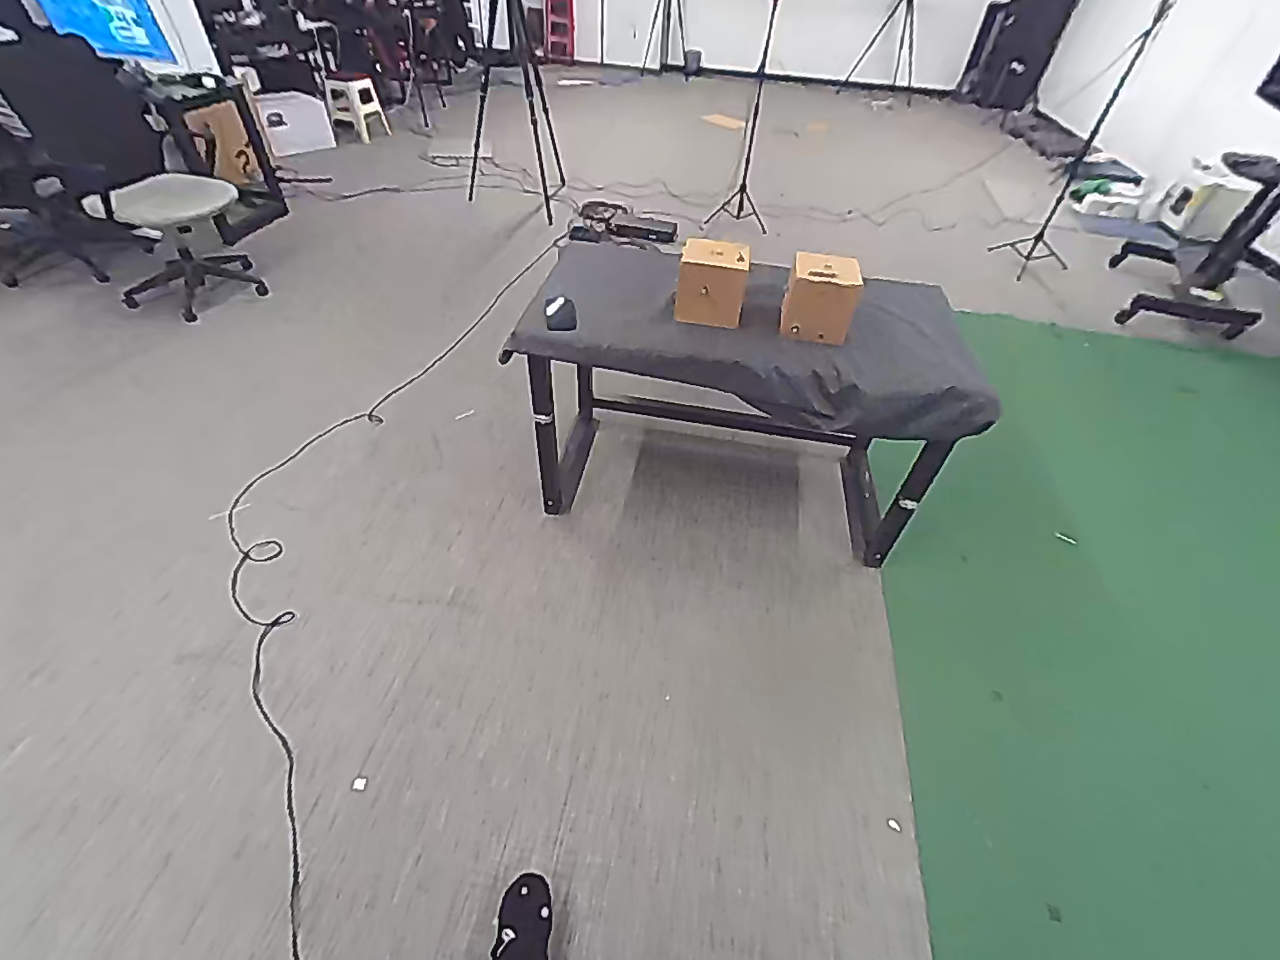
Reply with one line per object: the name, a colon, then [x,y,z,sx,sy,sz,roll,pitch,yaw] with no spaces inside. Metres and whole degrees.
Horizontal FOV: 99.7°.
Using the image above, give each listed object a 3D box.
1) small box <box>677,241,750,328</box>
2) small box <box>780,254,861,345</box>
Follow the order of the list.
small box: [0.199,-0.533,1.482,0.179,0.176,0.168,9,45,5]
small box: [0.479,-0.483,1.455,0.168,0.176,0.179,11,44,6]
